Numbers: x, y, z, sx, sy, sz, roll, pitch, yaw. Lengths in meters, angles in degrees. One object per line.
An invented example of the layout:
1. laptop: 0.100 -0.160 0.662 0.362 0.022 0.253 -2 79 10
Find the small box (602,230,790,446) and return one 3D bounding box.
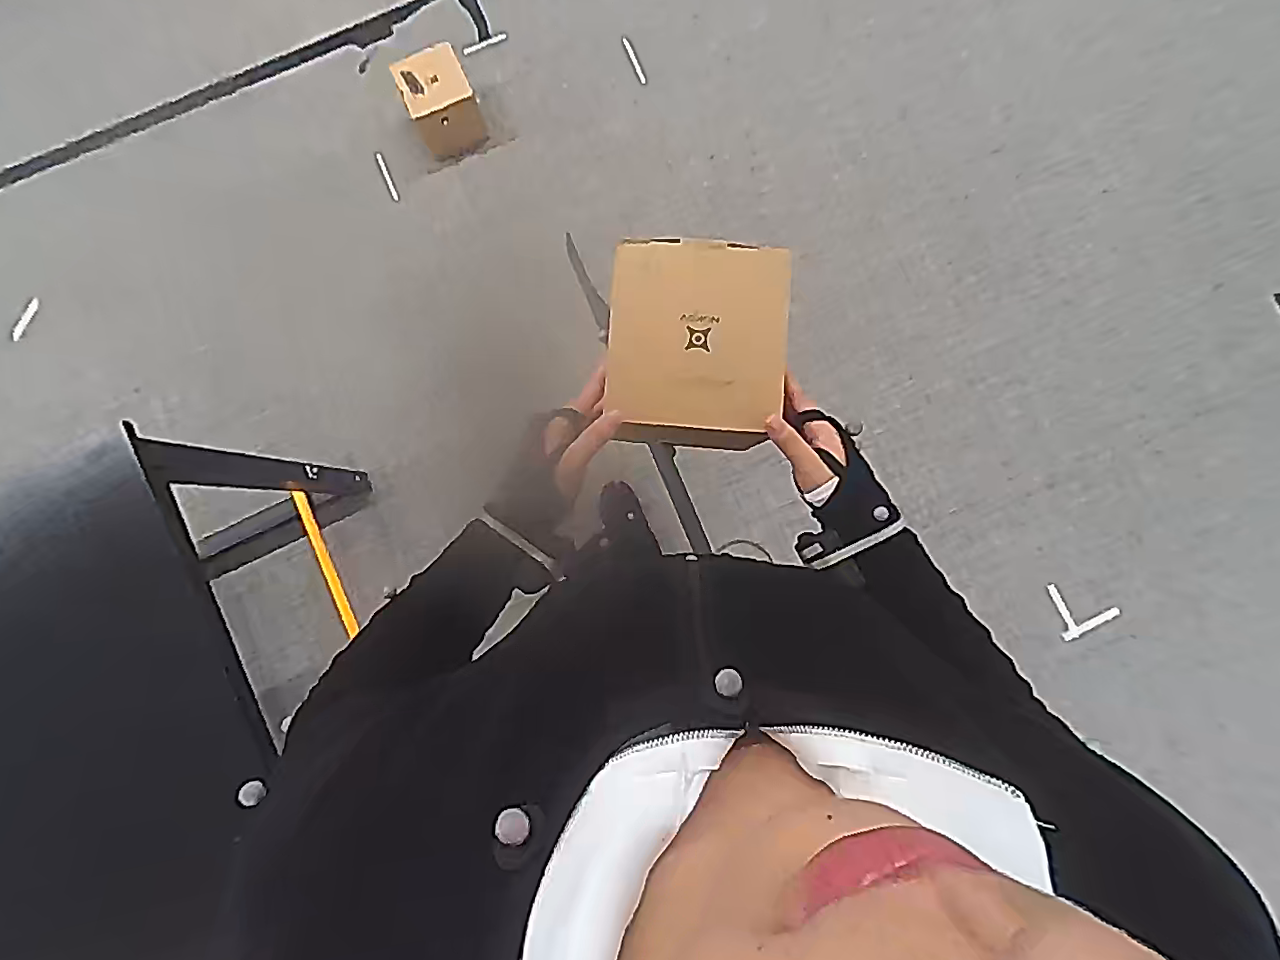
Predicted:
1. small box: 0.051 -0.136 0.577 0.168 0.176 0.179 4 88 0

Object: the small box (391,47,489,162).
1. small box: -0.546 -1.030 1.500 0.179 0.176 0.168 -26 87 -2
